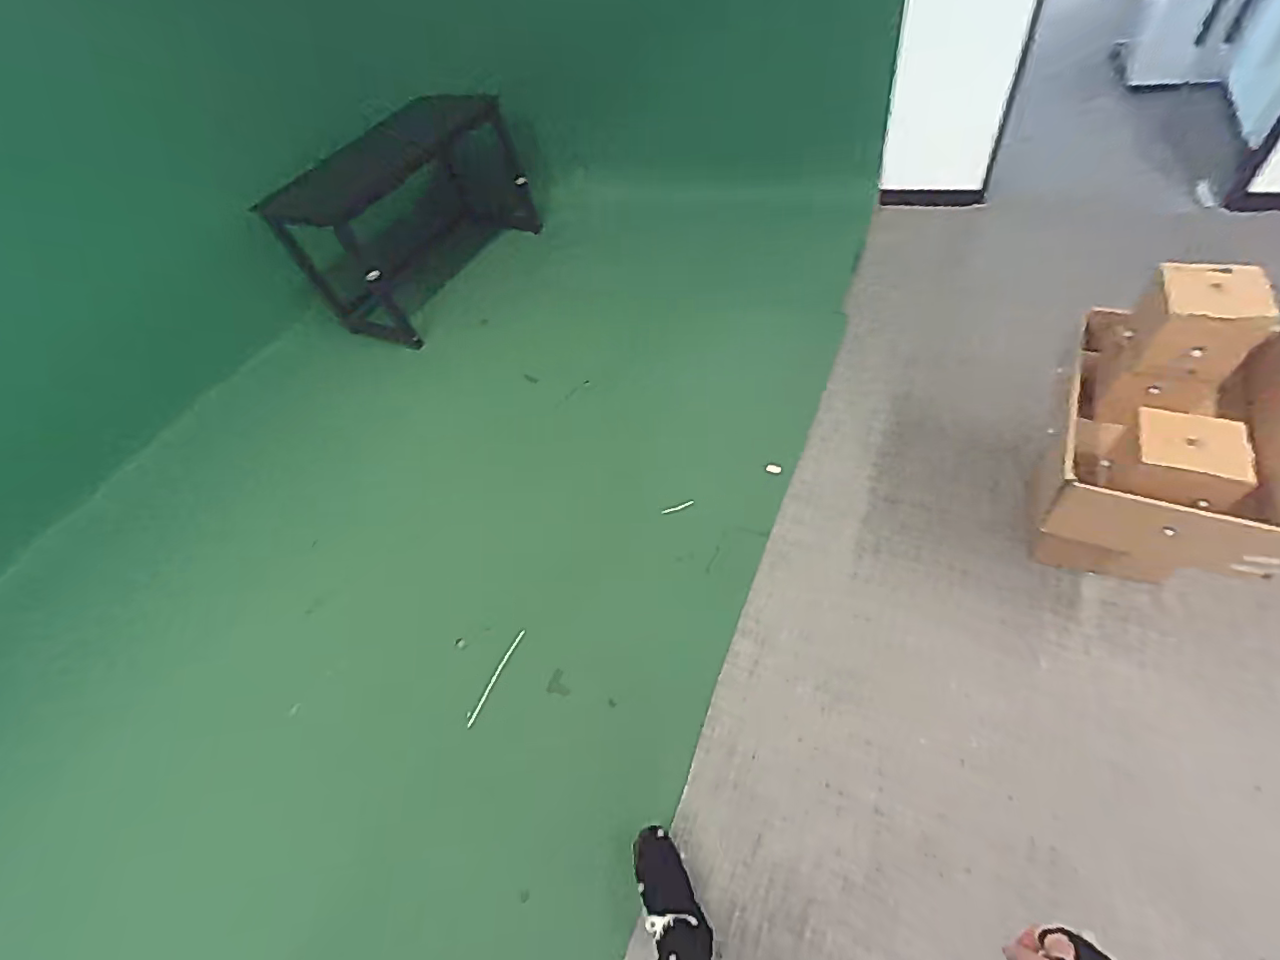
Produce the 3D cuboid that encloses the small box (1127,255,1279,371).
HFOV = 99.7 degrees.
[{"bbox_3d":[1.187,-0.355,1.157,0.168,0.176,0.179,11,59,21],"label":"small box"}]
